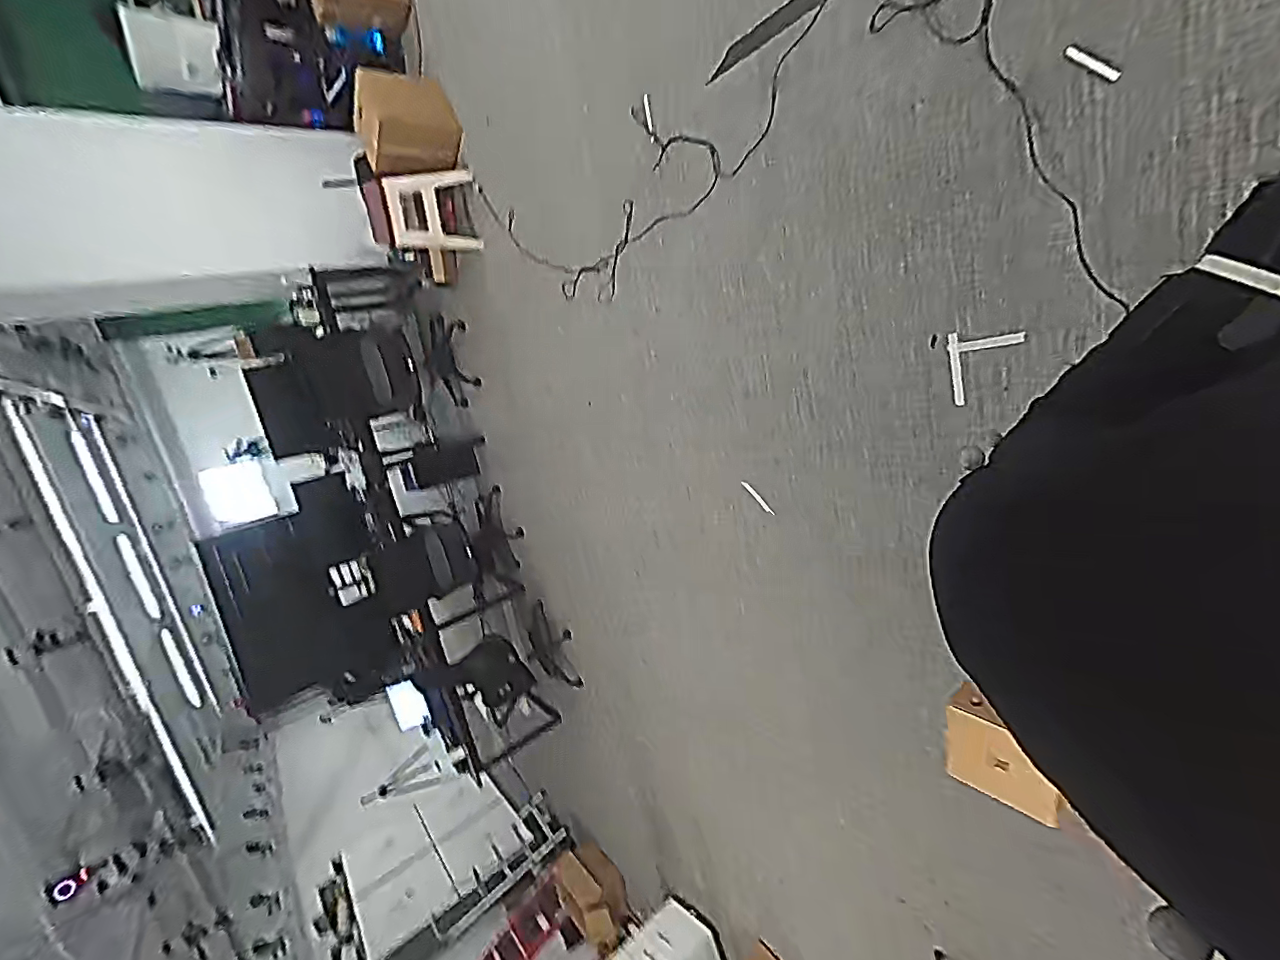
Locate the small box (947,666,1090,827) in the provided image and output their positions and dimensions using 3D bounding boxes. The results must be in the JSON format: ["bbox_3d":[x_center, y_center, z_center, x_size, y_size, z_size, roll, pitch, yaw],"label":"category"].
[{"bbox_3d":[0.693,0.471,0.992,0.179,0.176,0.168,11,116,52],"label":"small box"}]
